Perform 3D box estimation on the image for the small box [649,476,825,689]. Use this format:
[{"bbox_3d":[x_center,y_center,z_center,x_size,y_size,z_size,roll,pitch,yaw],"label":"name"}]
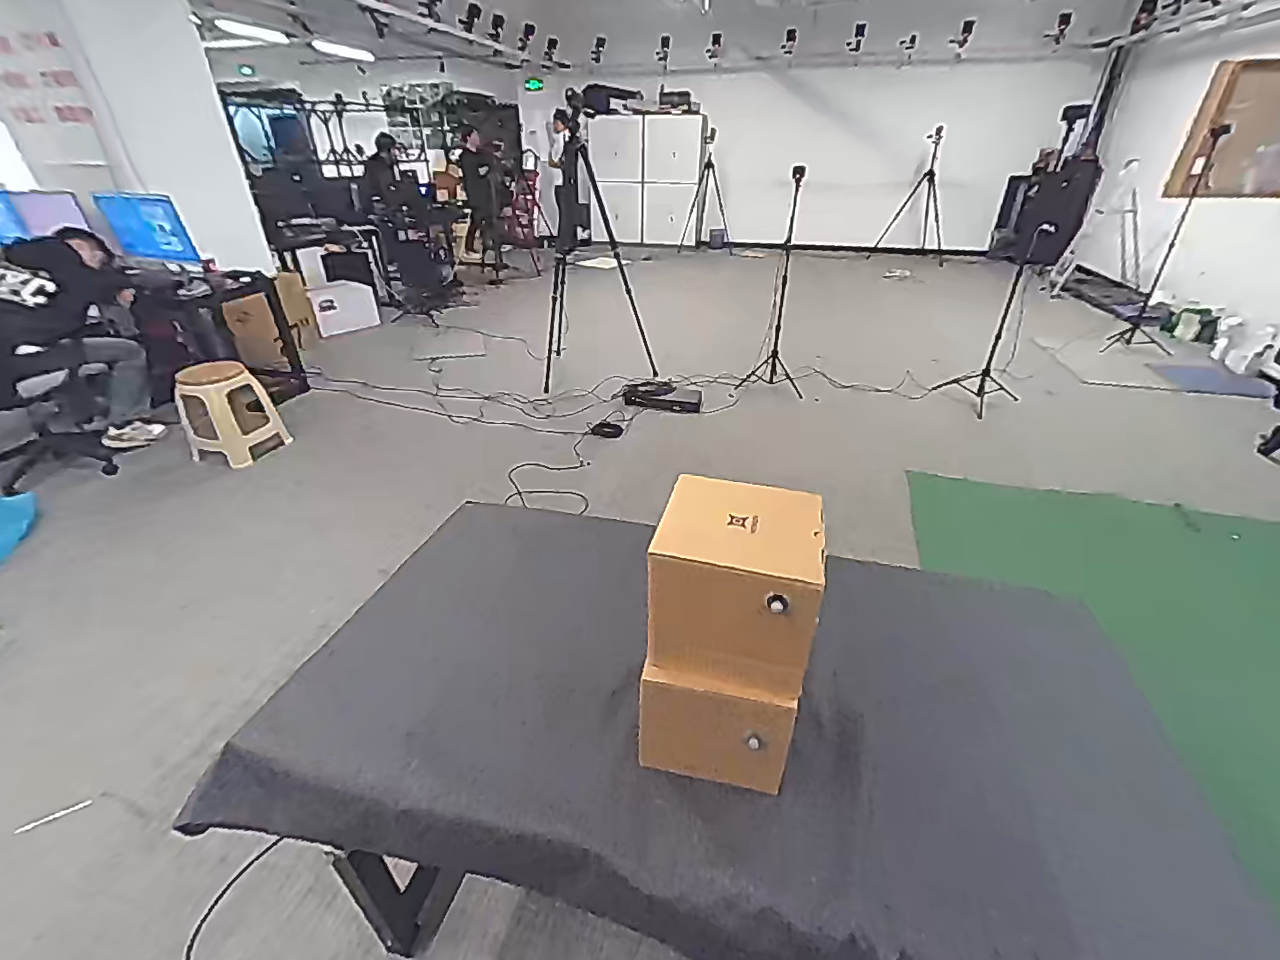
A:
[{"bbox_3d":[0.112,0.116,0.634,0.179,0.176,0.168,9,32,12],"label":"small box"}]
